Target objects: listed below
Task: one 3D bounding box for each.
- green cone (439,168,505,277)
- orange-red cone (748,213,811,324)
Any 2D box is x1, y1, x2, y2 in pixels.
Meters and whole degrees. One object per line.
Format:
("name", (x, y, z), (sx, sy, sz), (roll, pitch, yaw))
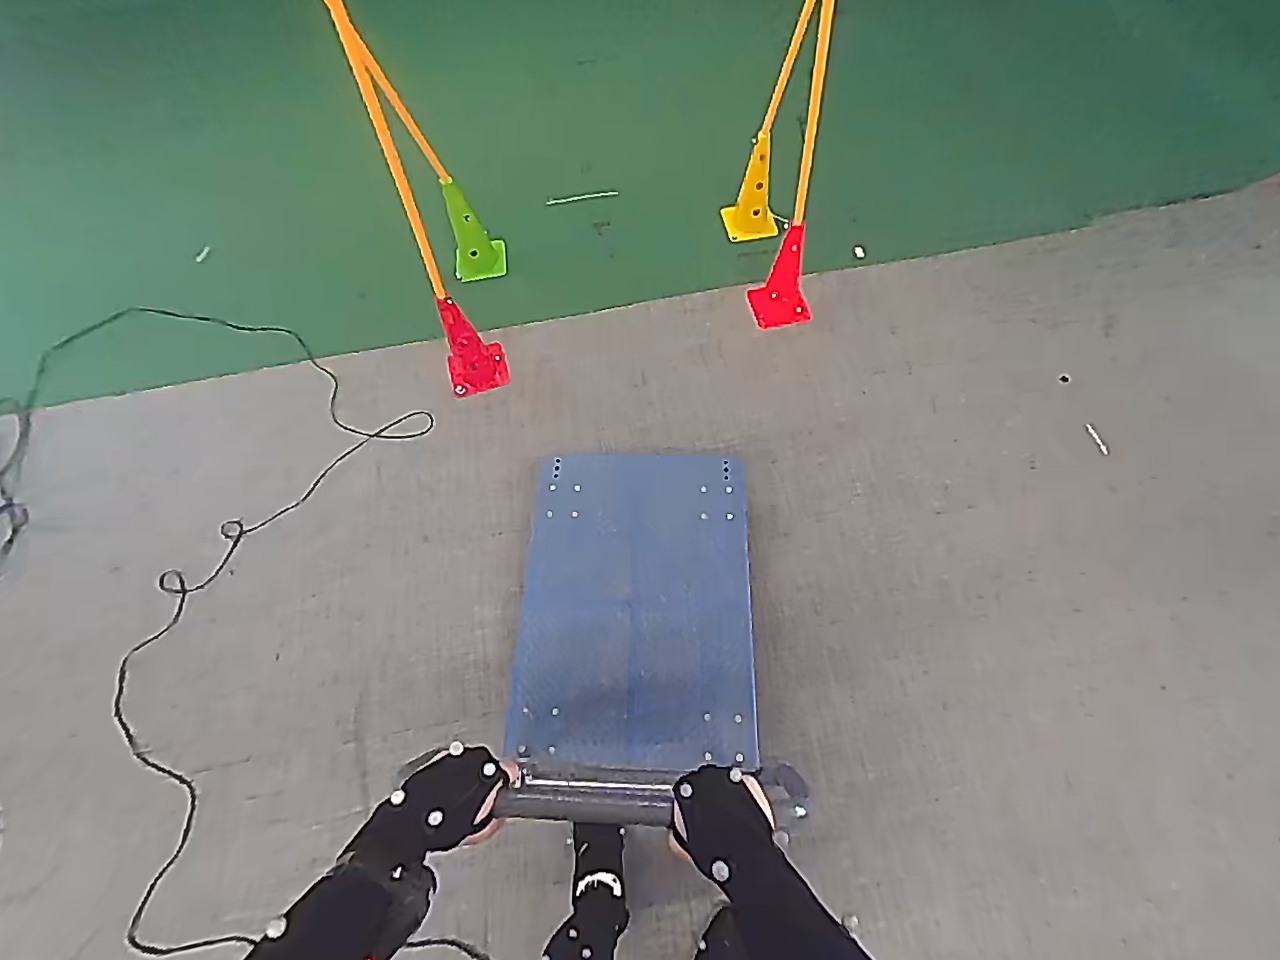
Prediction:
("green cone", (-0.651, -0.970, 2.007), (0.200, 0.368, 0.202), (-11, 63, -1))
("orange-red cone", (0.501, -0.734, 1.829), (0.198, 0.360, 0.199), (-10, 62, -2))
